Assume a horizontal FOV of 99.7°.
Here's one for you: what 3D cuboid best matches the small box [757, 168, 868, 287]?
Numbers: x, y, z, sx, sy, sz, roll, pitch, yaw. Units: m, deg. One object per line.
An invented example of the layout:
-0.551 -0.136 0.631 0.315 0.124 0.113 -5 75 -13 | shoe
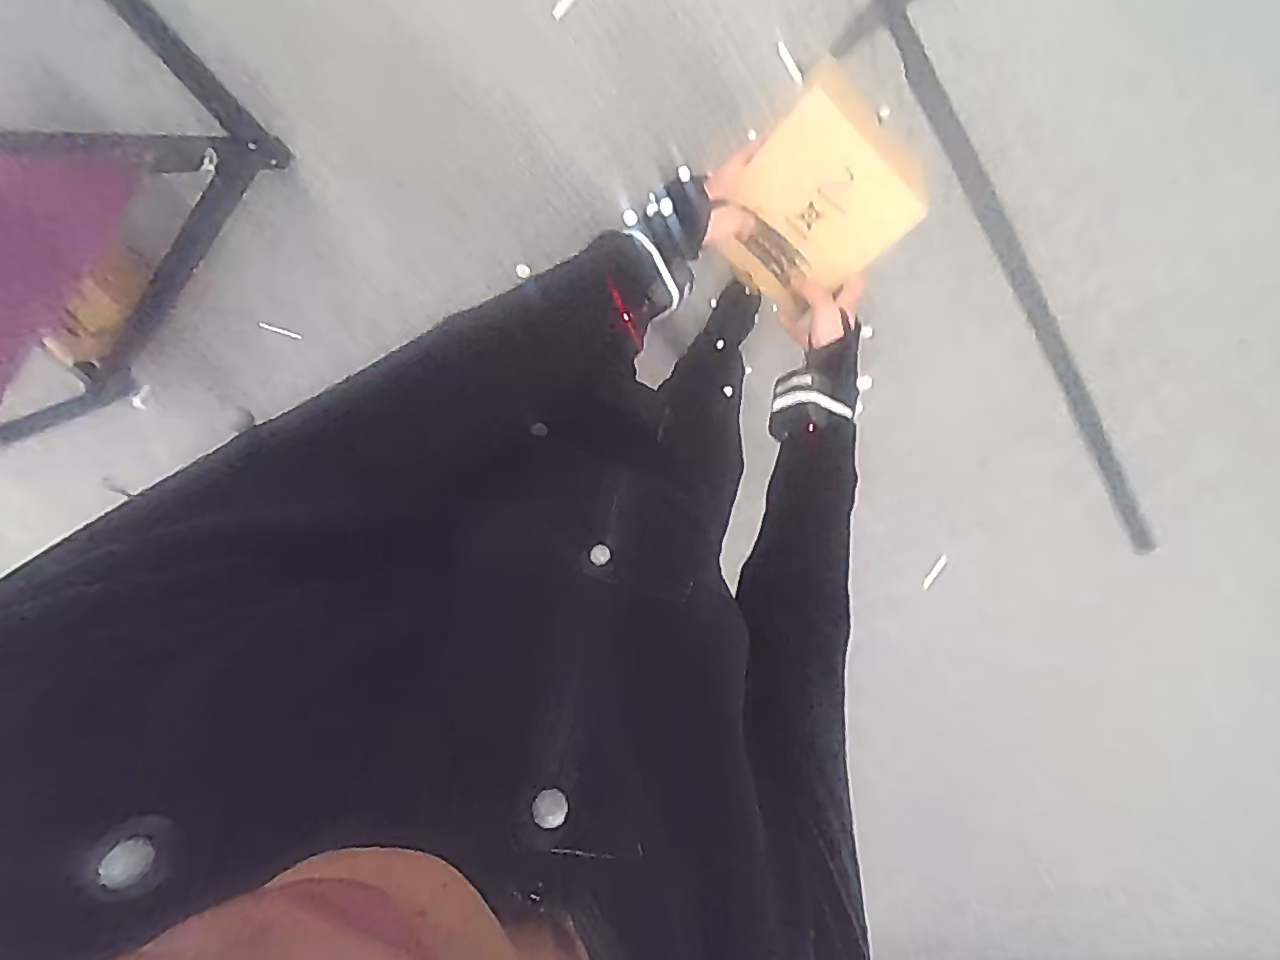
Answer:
0.377 -0.572 1.214 0.179 0.176 0.168 -34 109 28 | small box
